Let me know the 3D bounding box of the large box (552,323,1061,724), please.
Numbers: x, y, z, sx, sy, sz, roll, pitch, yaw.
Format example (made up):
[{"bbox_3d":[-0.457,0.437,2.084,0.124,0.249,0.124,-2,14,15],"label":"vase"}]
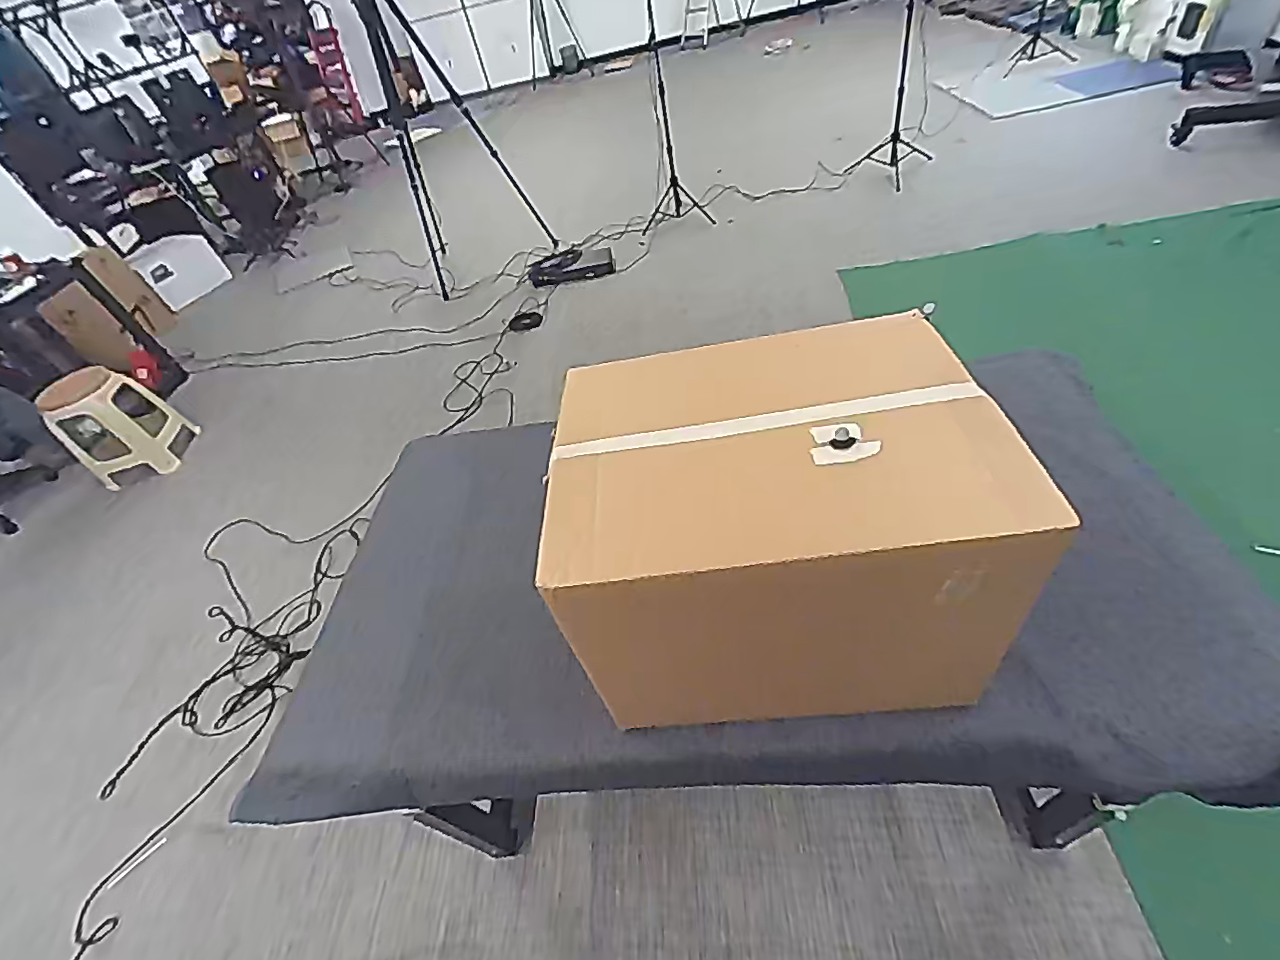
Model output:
[{"bbox_3d":[0.142,0.058,0.630,0.408,0.320,0.320,-7,45,7],"label":"large box"}]
